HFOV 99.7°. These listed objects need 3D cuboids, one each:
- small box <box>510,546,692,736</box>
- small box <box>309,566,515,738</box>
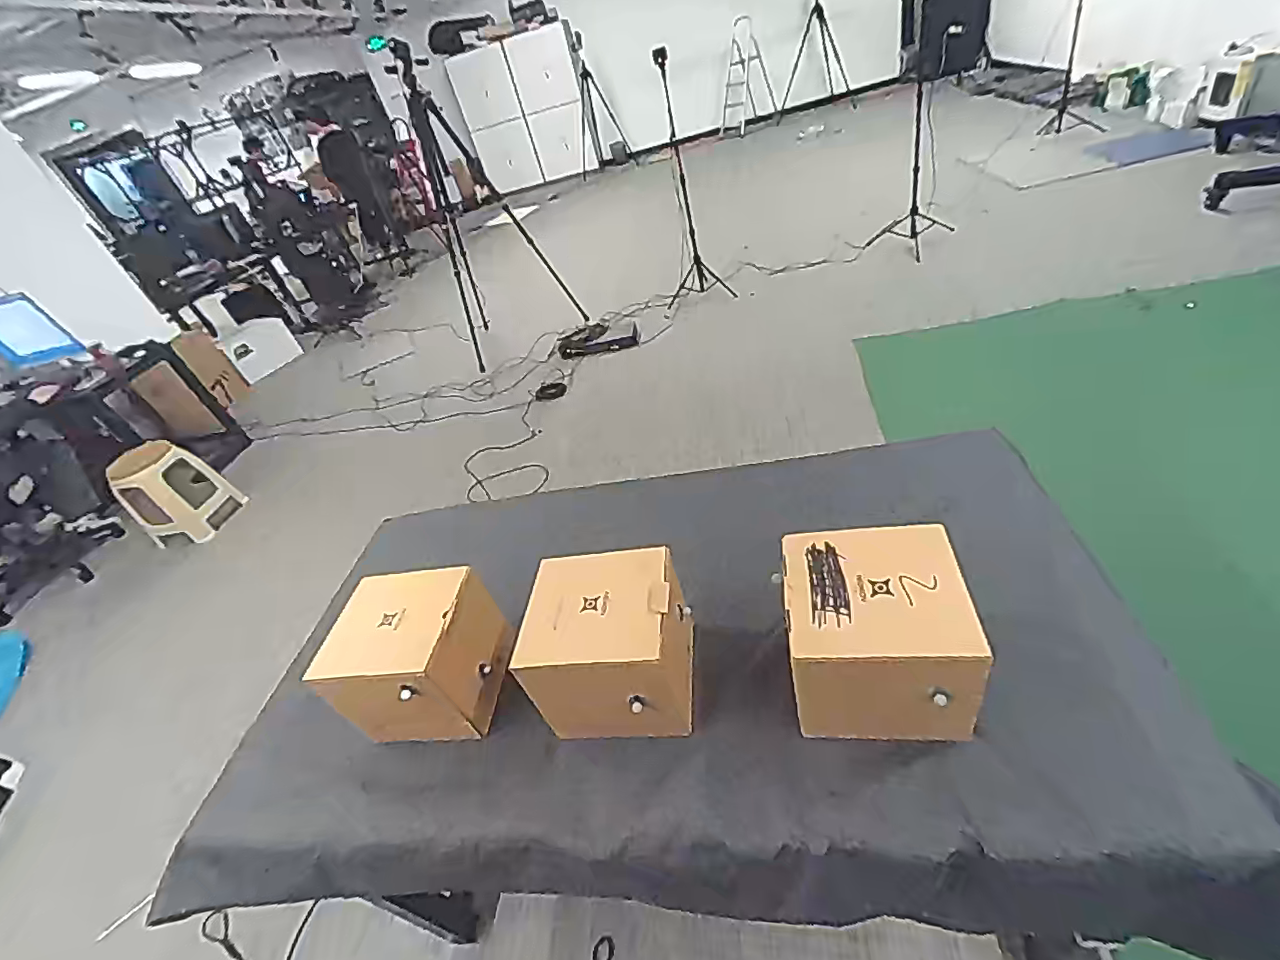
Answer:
[{"bbox_3d":[-0.034,0.208,0.691,0.179,0.176,0.168,-9,37,14],"label":"small box"},{"bbox_3d":[-0.304,0.245,0.761,0.179,0.176,0.168,-8,38,12],"label":"small box"}]
